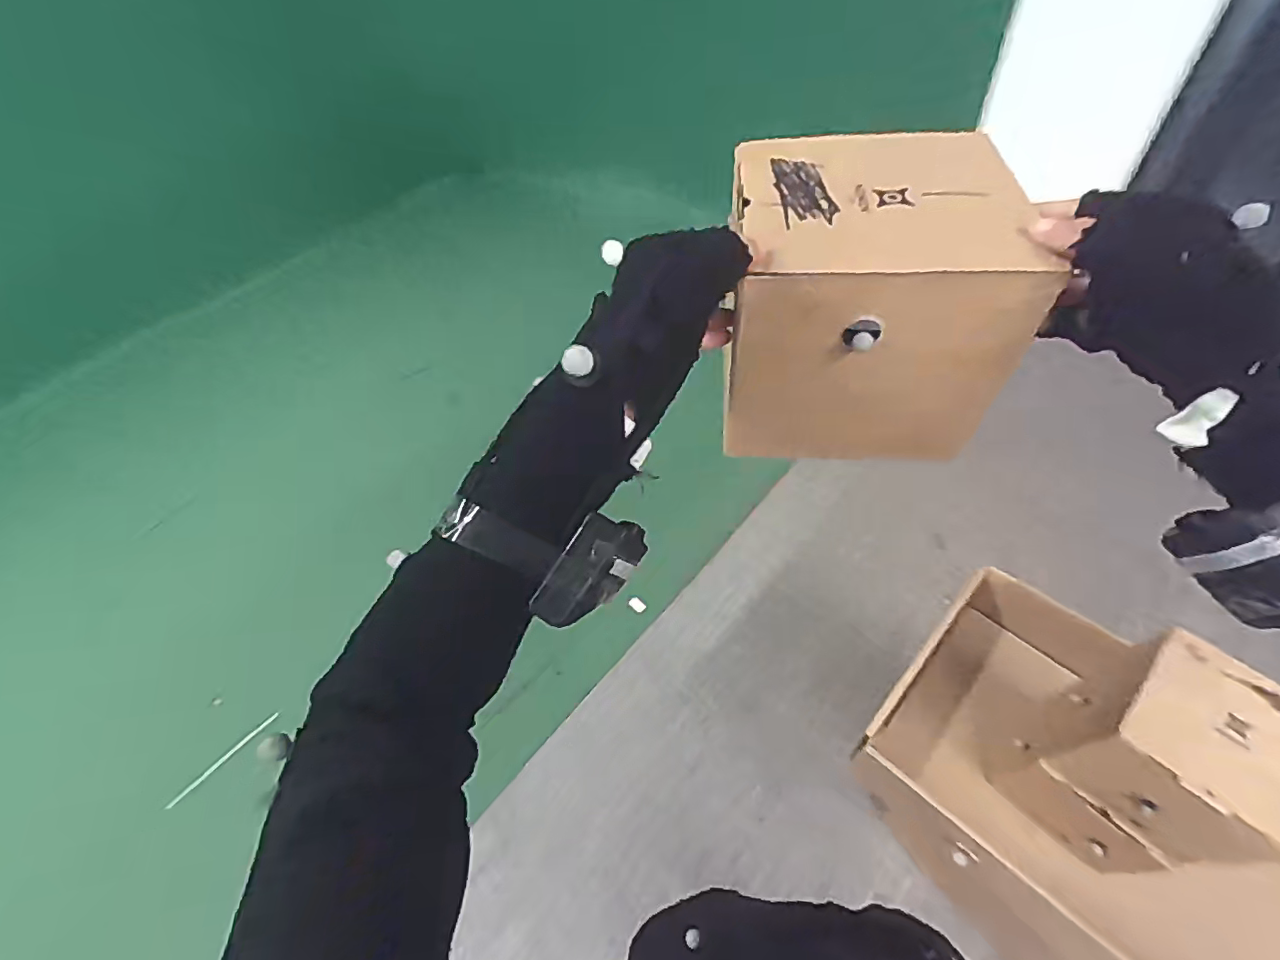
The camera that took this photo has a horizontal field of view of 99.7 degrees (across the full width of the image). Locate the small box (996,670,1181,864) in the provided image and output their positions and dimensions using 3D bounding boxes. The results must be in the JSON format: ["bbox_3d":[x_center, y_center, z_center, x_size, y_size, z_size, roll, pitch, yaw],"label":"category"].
[{"bbox_3d":[0.659,0.419,0.783,0.179,0.176,0.168,-38,59,-22],"label":"small box"}]

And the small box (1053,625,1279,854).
[{"bbox_3d":[0.650,0.317,0.655,0.179,0.176,0.168,-40,60,-19],"label":"small box"}]

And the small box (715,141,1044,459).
[{"bbox_3d":[0.147,-0.129,0.413,0.179,0.176,0.168,1,54,5],"label":"small box"}]
